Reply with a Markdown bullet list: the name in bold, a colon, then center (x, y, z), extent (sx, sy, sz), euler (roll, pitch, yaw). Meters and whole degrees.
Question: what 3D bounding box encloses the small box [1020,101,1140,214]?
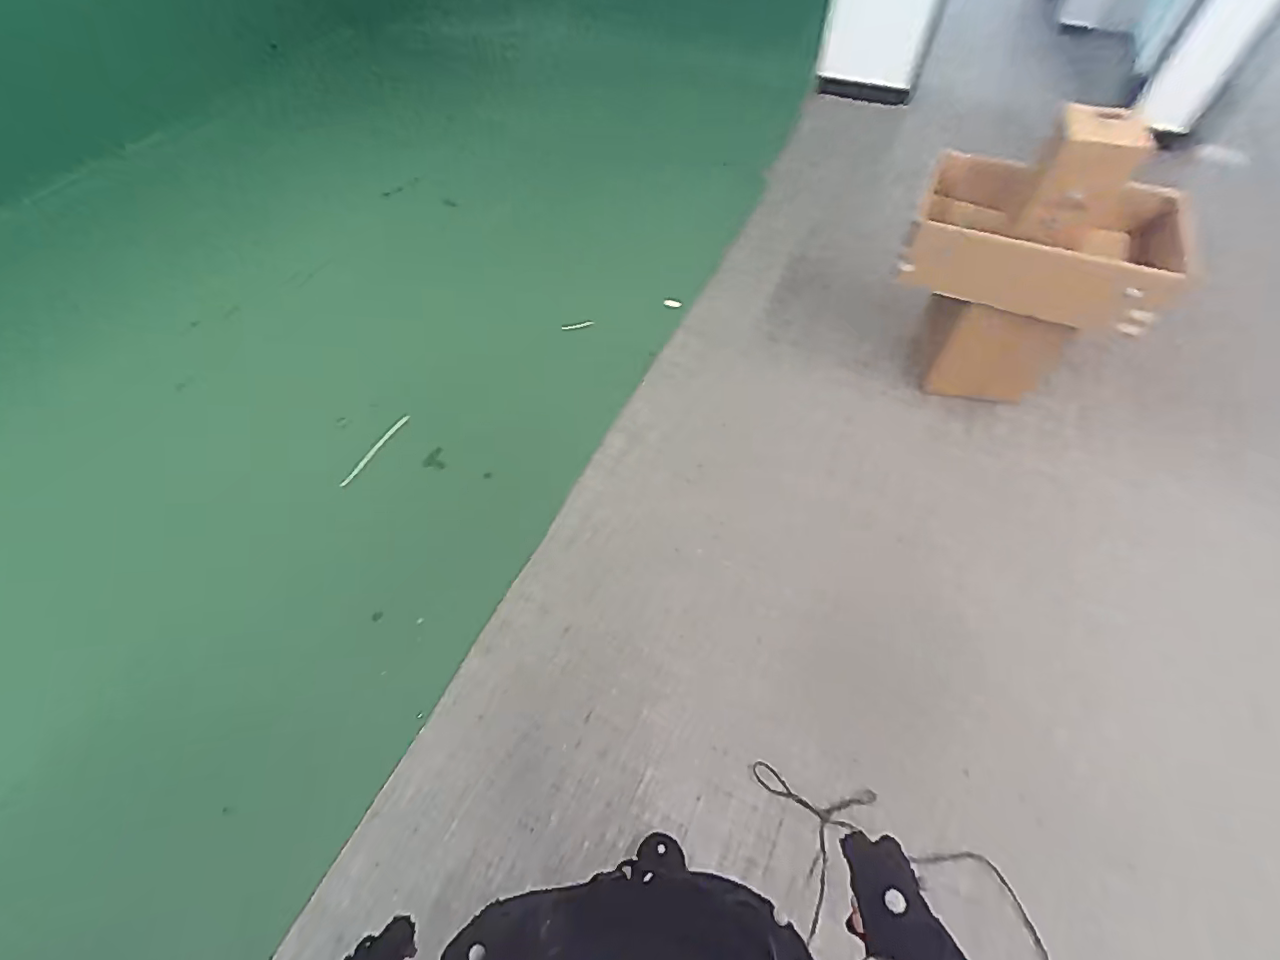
- **small box**: center (1.055, -0.781, 1.313), extent (0.168, 0.176, 0.179), euler (15, 60, 13)
